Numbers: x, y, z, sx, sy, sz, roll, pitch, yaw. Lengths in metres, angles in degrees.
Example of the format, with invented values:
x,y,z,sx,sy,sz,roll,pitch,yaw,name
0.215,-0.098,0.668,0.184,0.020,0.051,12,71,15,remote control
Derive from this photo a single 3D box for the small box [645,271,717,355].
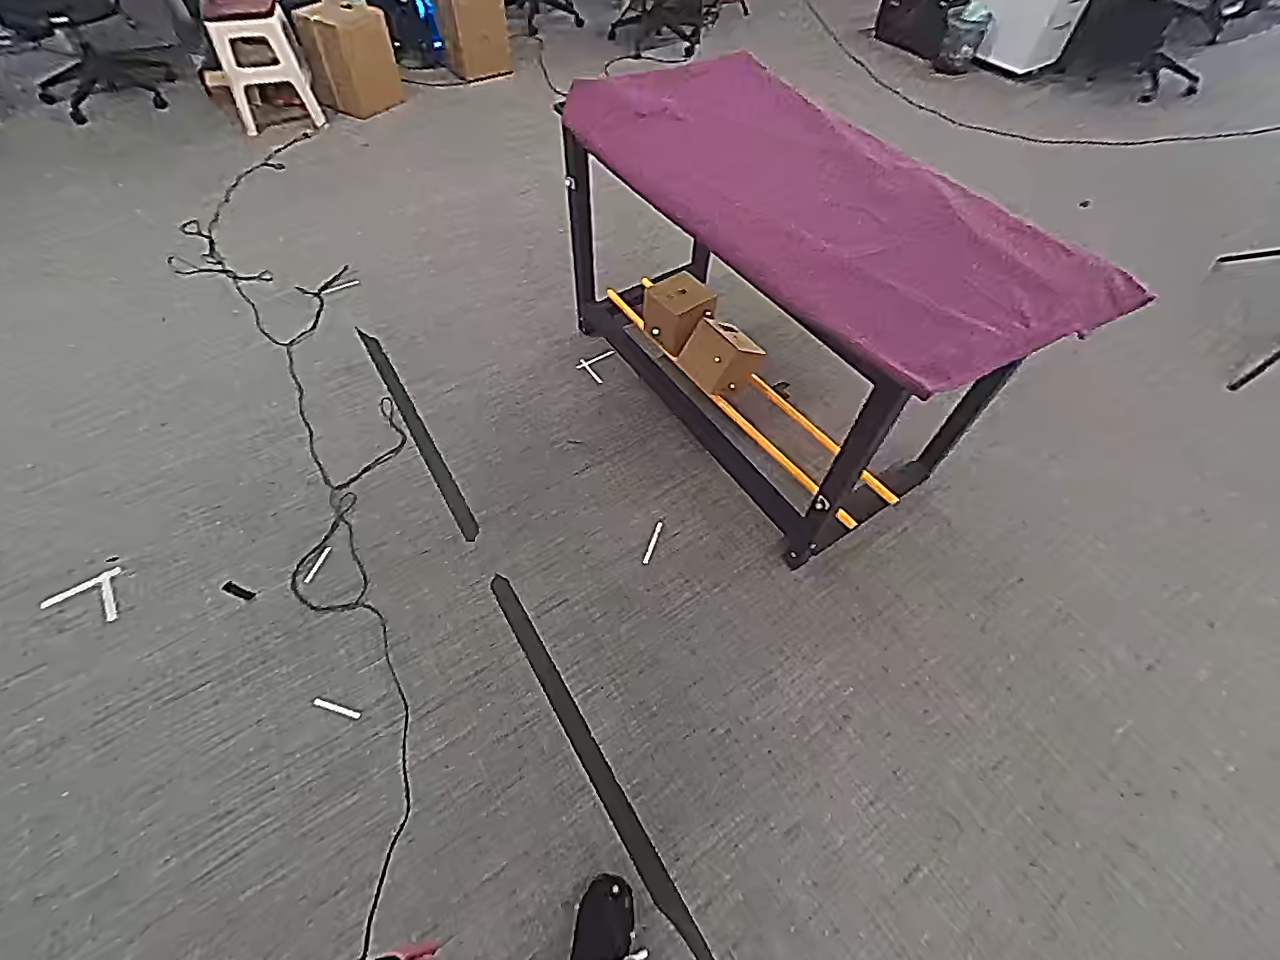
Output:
x,y,z,sx,sy,sz,roll,pitch,yaw,name
0.128,-0.549,1.784,0.179,0.176,0.168,-32,62,-20,small box
